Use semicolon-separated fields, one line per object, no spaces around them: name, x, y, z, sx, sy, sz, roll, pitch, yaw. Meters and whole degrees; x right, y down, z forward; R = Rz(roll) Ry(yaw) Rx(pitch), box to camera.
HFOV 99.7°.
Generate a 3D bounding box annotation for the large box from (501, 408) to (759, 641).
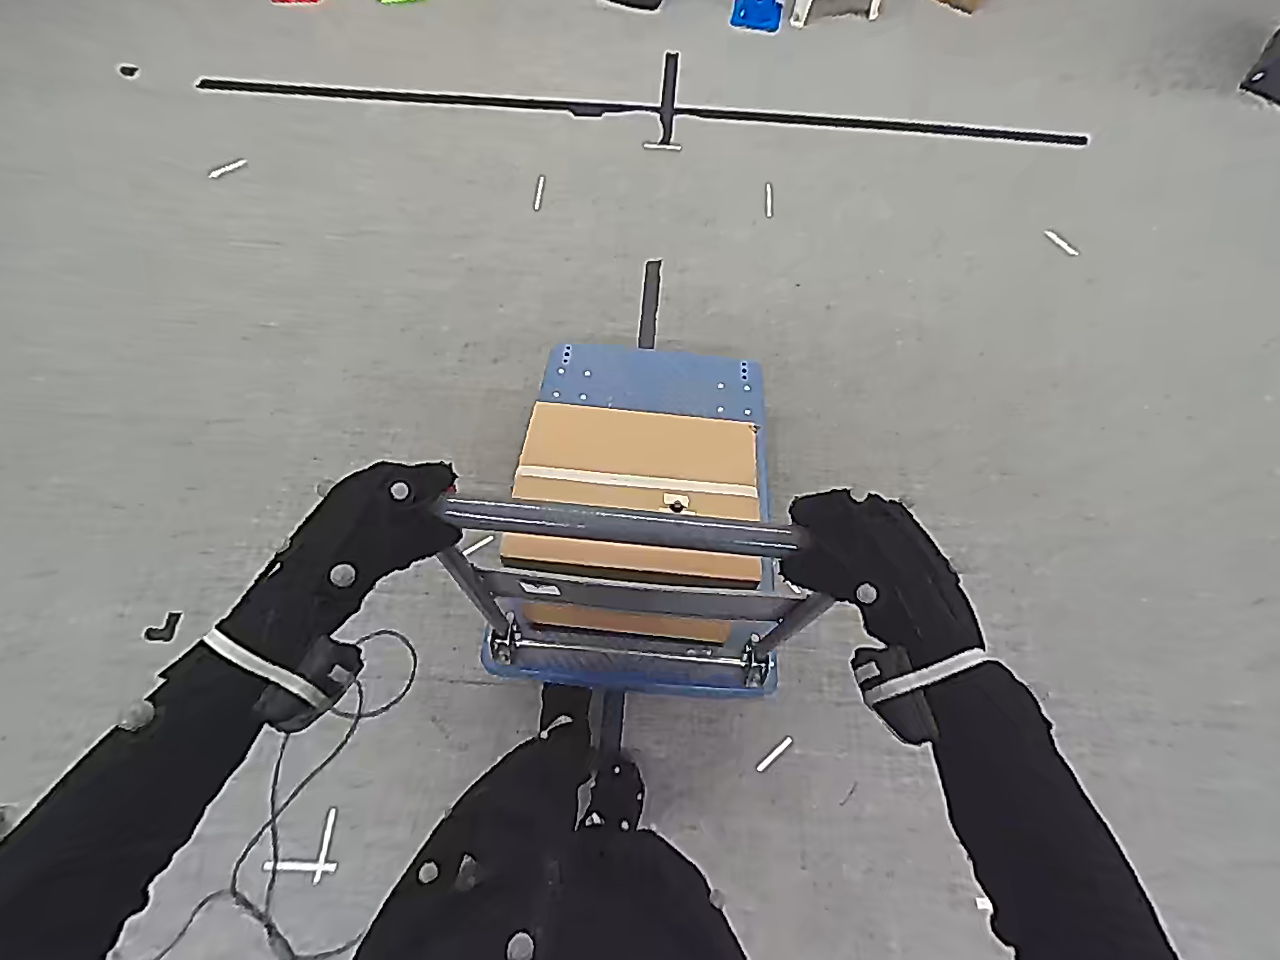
large box;-0.016;0.094;1.023;0.408;0.320;0.320;6;57;0
